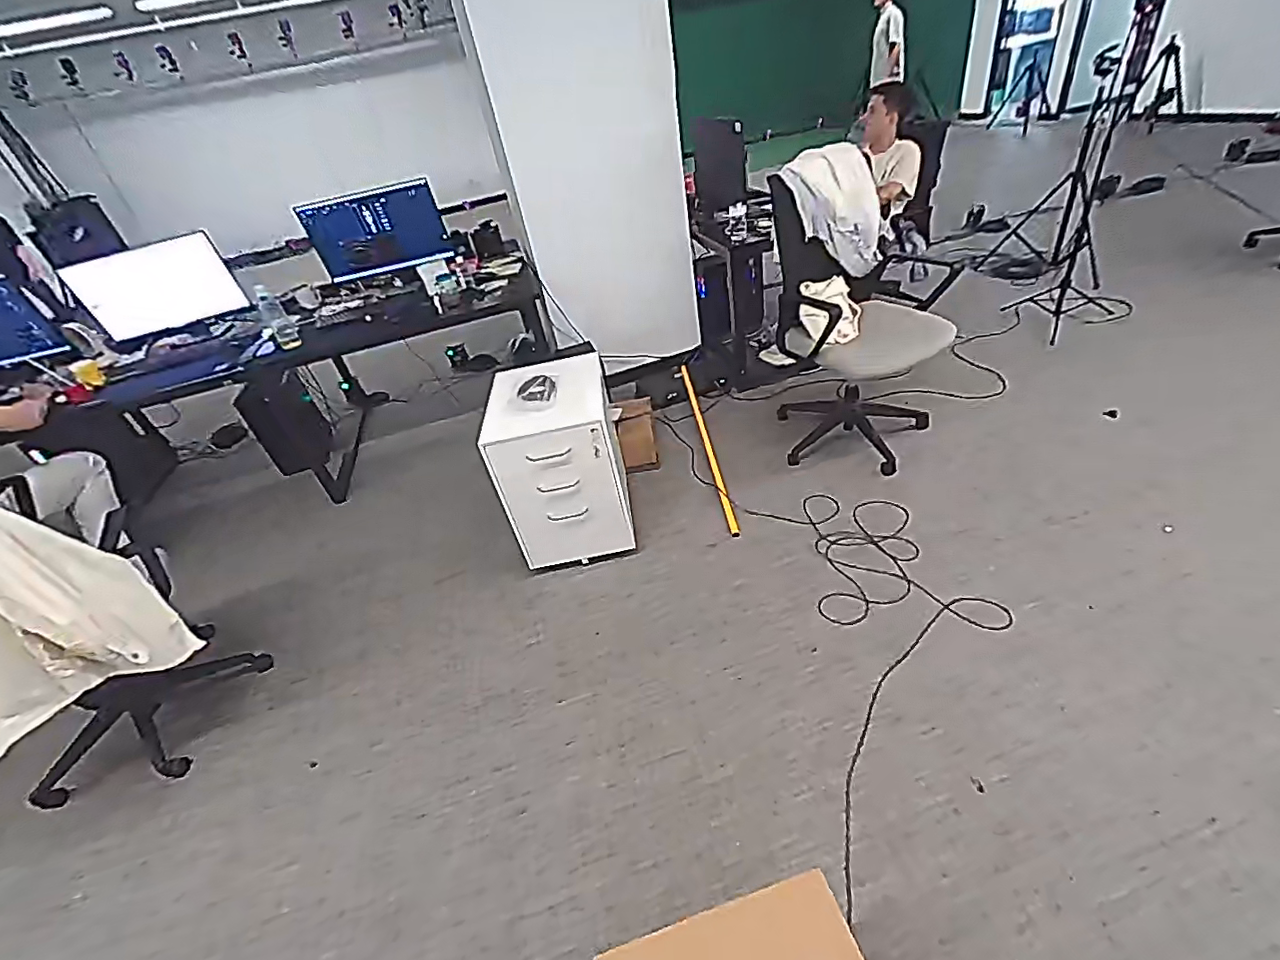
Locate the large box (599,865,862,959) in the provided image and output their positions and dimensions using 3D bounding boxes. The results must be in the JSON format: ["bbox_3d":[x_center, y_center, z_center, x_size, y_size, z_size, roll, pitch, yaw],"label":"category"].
[{"bbox_3d":[0.180,0.914,0.866,0.408,0.320,0.320,-17,37,-6],"label":"large box"}]
